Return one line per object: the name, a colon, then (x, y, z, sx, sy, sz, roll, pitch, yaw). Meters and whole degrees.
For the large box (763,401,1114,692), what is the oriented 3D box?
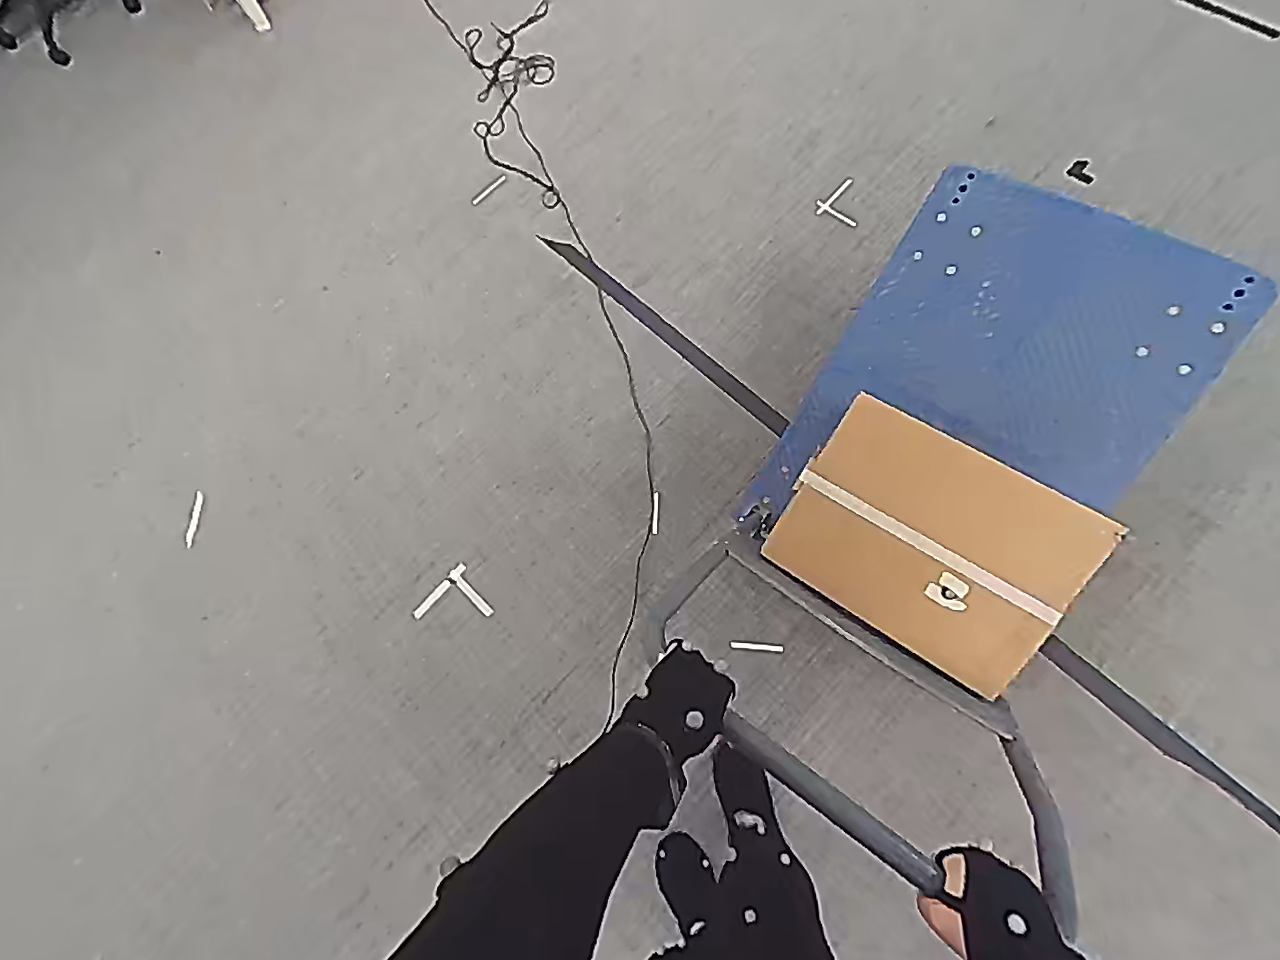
large box: (0.490, 0.093, 0.988, 0.408, 0.320, 0.320, 32, 103, 16)
